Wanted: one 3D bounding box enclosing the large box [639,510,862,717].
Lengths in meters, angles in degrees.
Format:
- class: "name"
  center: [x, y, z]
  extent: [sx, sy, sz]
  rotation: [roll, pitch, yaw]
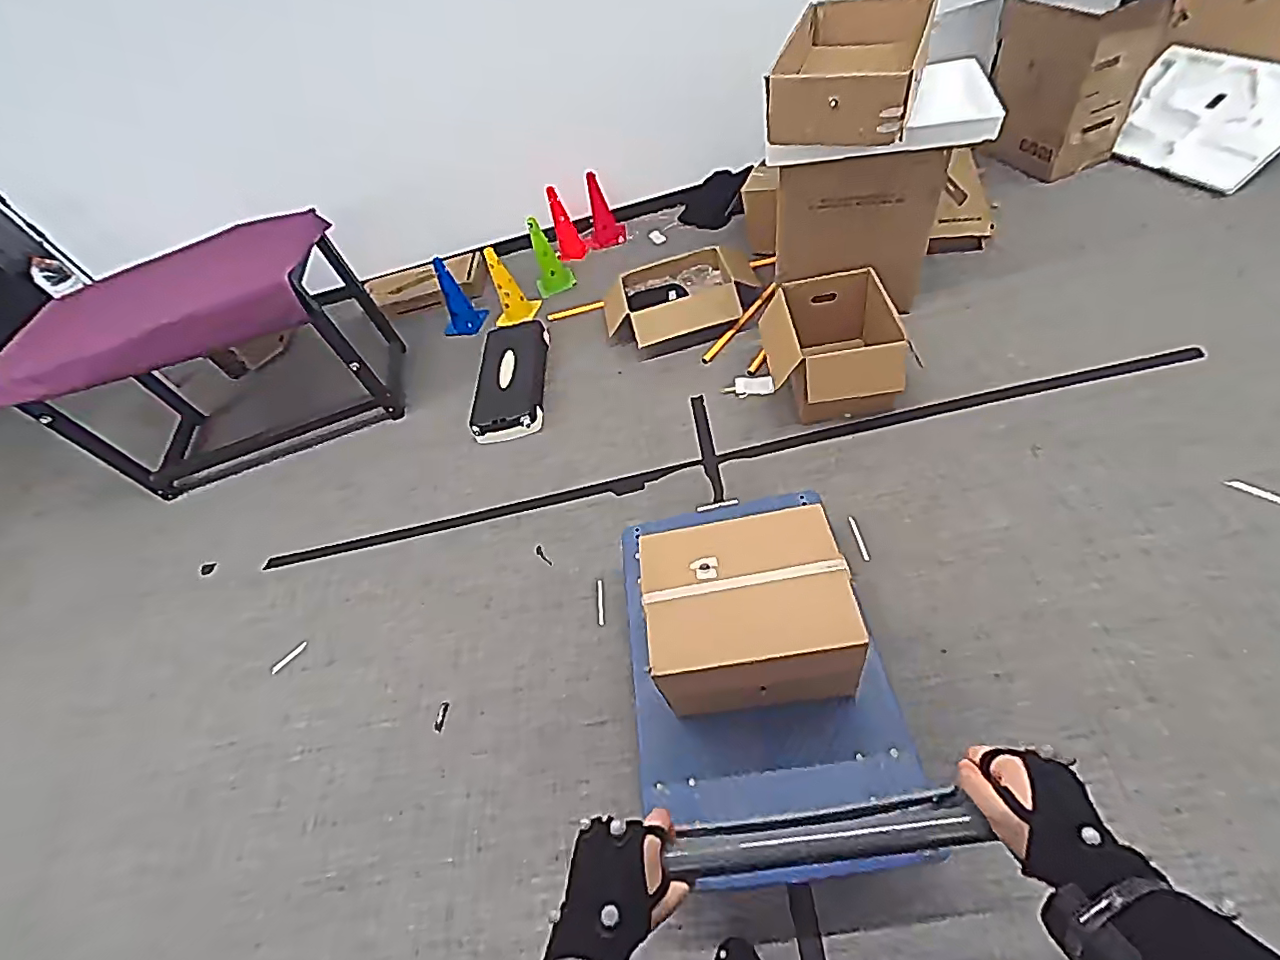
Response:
- class: "large box"
  center: [0.239, 0.312, 1.218]
  extent: [0.408, 0.320, 0.320]
  rotation: [-12, 50, 8]
